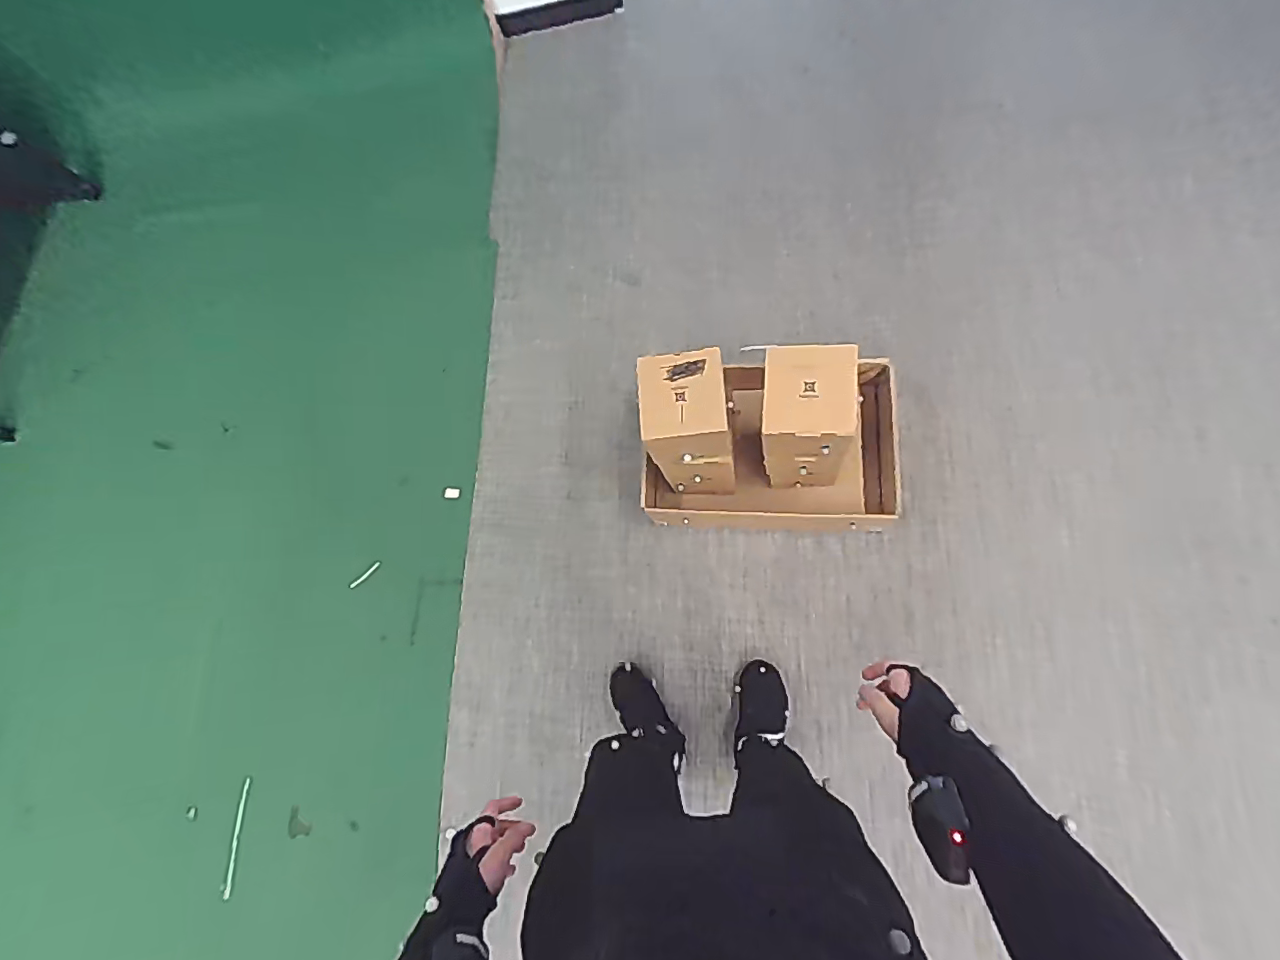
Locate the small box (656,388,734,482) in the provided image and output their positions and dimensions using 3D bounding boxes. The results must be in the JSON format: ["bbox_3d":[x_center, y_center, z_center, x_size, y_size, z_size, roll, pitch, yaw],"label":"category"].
[{"bbox_3d":[0.133,-0.102,1.263,0.168,0.176,0.179,0,76,12],"label":"small box"}]

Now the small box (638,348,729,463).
[{"bbox_3d":[0.092,-0.146,1.109,0.168,0.176,0.179,-6,75,10],"label":"small box"}]

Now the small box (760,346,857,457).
[{"bbox_3d":[0.328,-0.148,1.064,0.168,0.176,0.179,3,78,15],"label":"small box"}]
